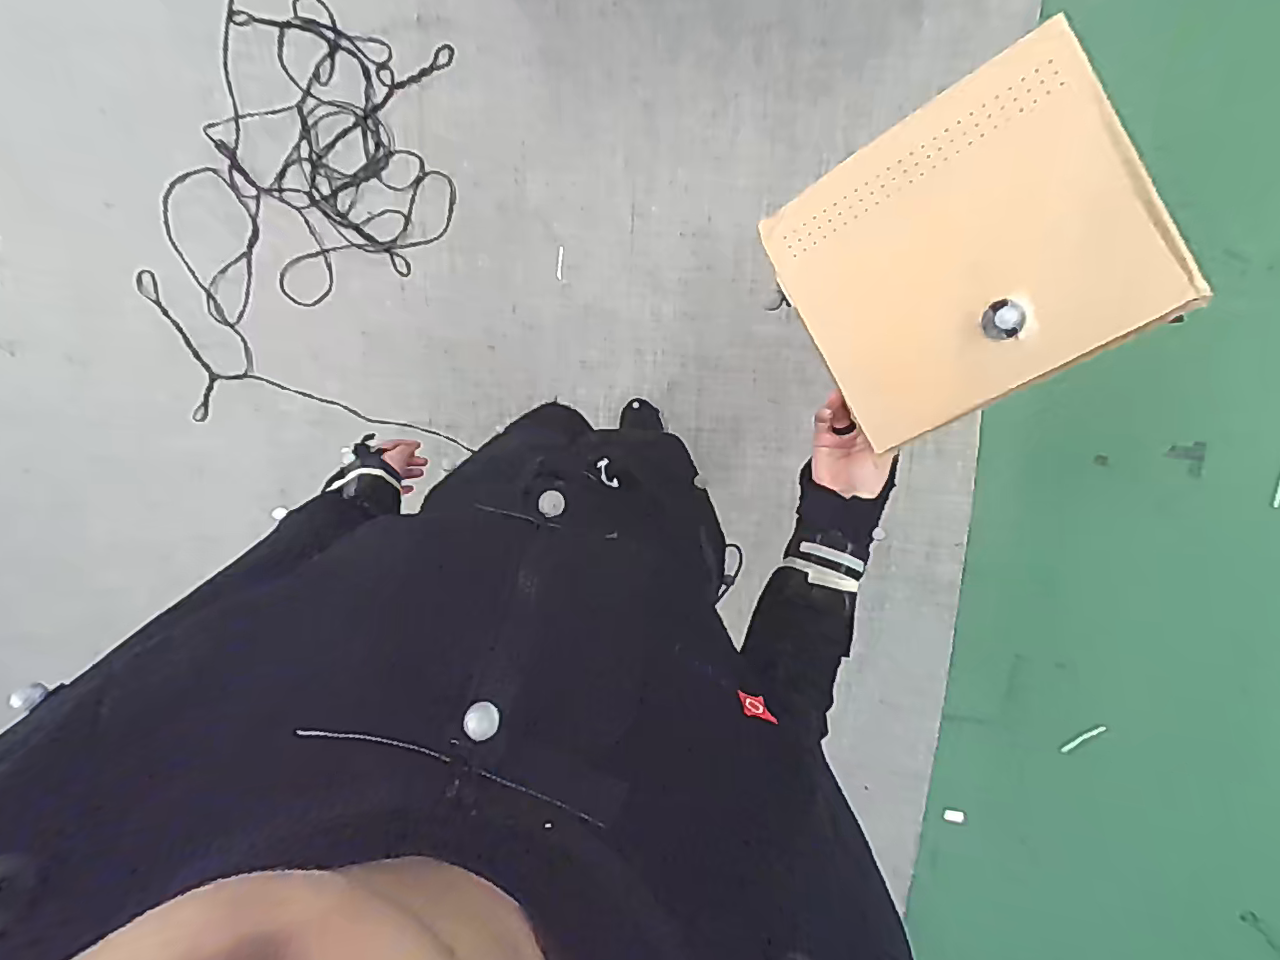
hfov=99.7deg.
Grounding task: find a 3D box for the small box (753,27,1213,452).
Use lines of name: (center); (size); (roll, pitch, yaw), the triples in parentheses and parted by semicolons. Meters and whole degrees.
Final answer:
small box: (0.201, -0.140, 0.371); (0.179, 0.168, 0.176); (-28, 89, 22)
